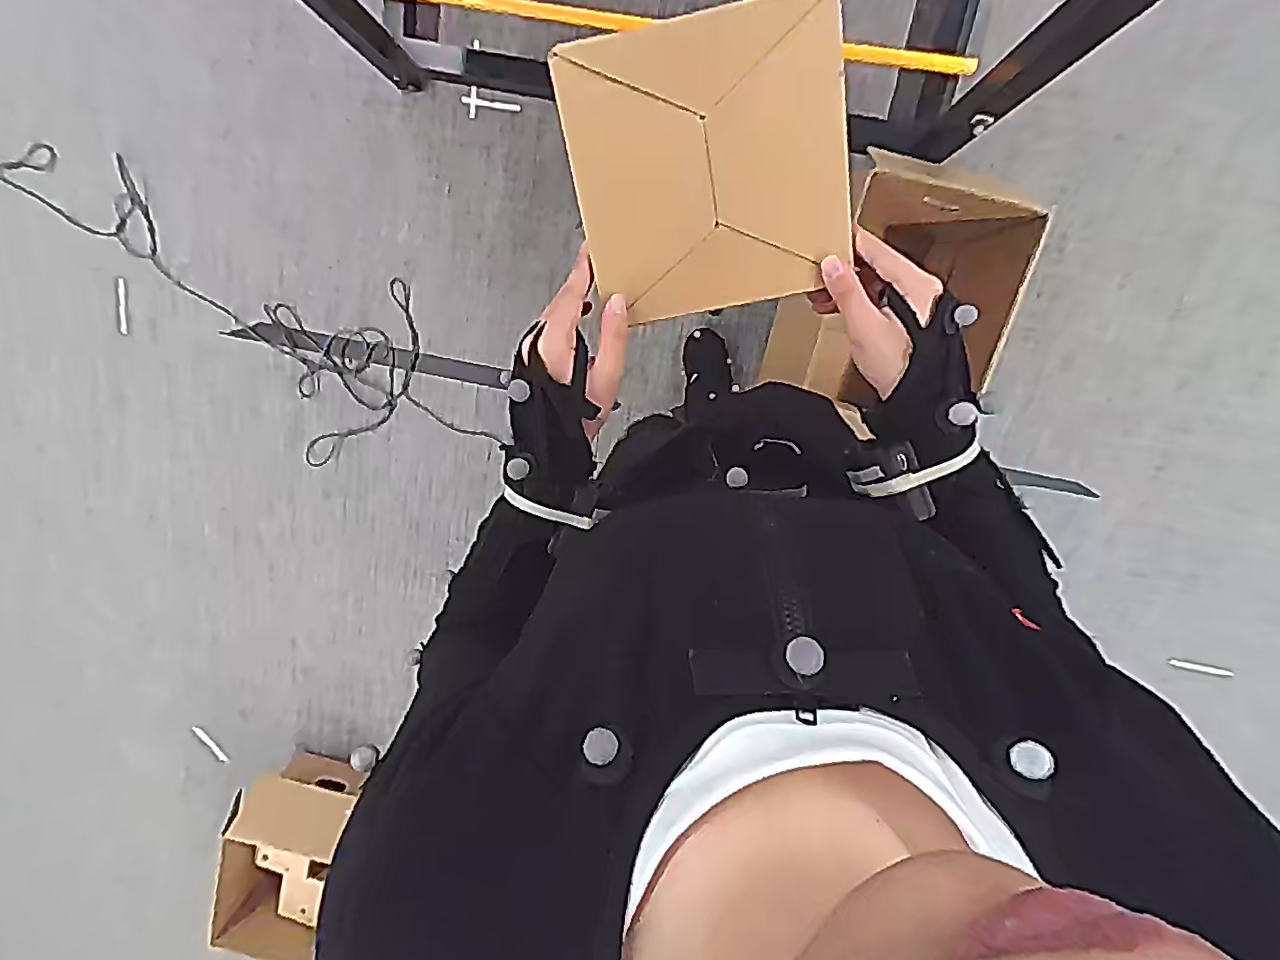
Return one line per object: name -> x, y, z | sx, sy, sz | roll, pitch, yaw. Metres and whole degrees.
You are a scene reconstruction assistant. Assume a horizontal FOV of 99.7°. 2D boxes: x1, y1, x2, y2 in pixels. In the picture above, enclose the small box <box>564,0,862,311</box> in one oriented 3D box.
small box -> 0.048, -0.231, 0.417 | 0.179, 0.176, 0.168 | -10, 111, 3
